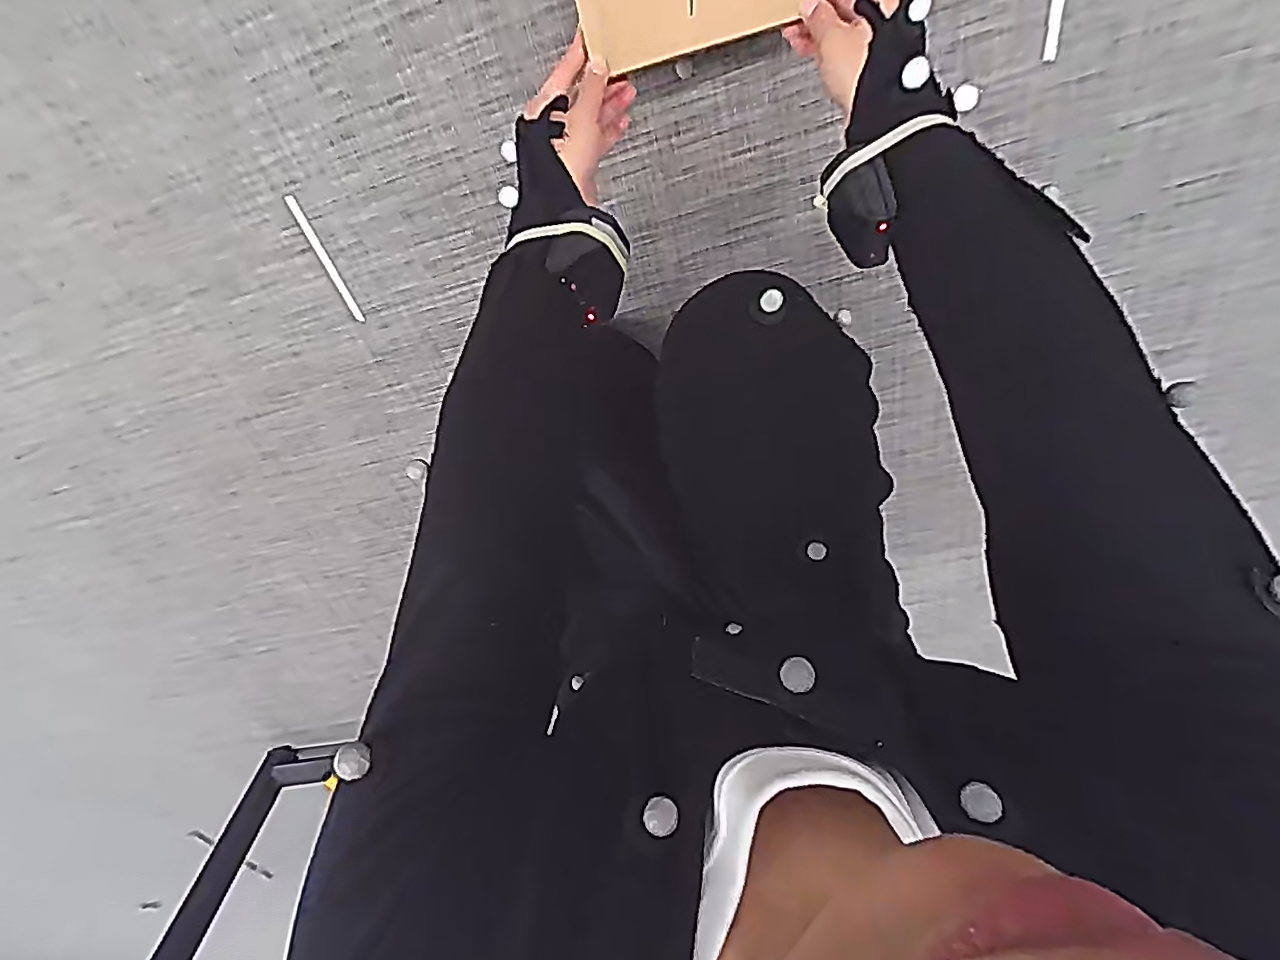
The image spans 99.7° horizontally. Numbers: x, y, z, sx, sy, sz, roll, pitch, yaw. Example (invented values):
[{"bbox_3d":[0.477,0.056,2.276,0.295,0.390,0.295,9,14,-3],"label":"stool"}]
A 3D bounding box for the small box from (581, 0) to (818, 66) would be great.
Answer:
[{"bbox_3d":[0.027,-0.434,0.402,0.168,0.176,0.179,-11,128,8],"label":"small box"}]
